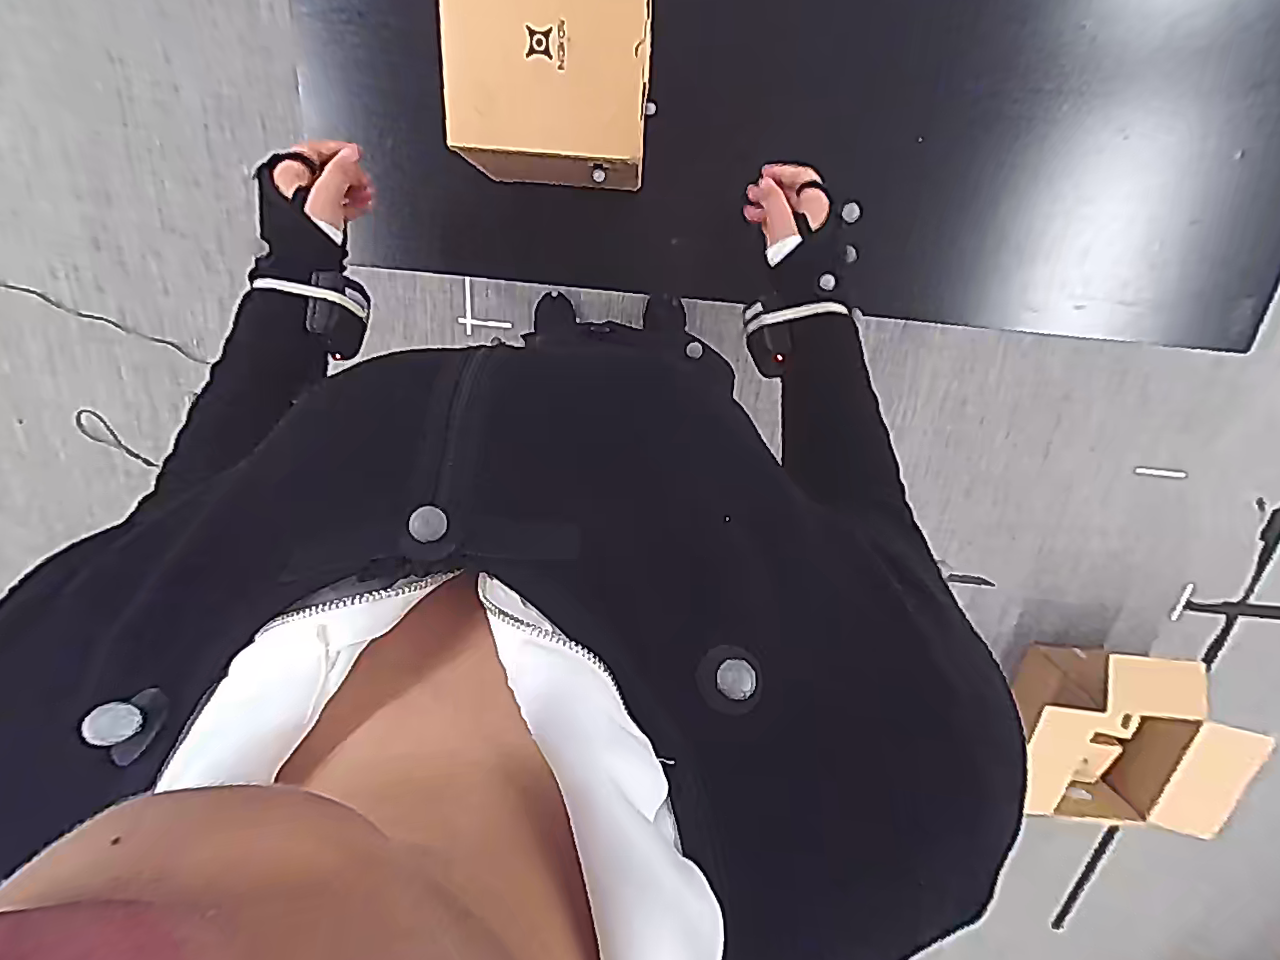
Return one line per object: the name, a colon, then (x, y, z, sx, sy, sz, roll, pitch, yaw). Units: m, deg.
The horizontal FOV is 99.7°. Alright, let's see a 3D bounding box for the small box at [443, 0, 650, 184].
small box: (-0.083, -0.404, 0.539, 0.179, 0.176, 0.168, 2, 110, -3)
